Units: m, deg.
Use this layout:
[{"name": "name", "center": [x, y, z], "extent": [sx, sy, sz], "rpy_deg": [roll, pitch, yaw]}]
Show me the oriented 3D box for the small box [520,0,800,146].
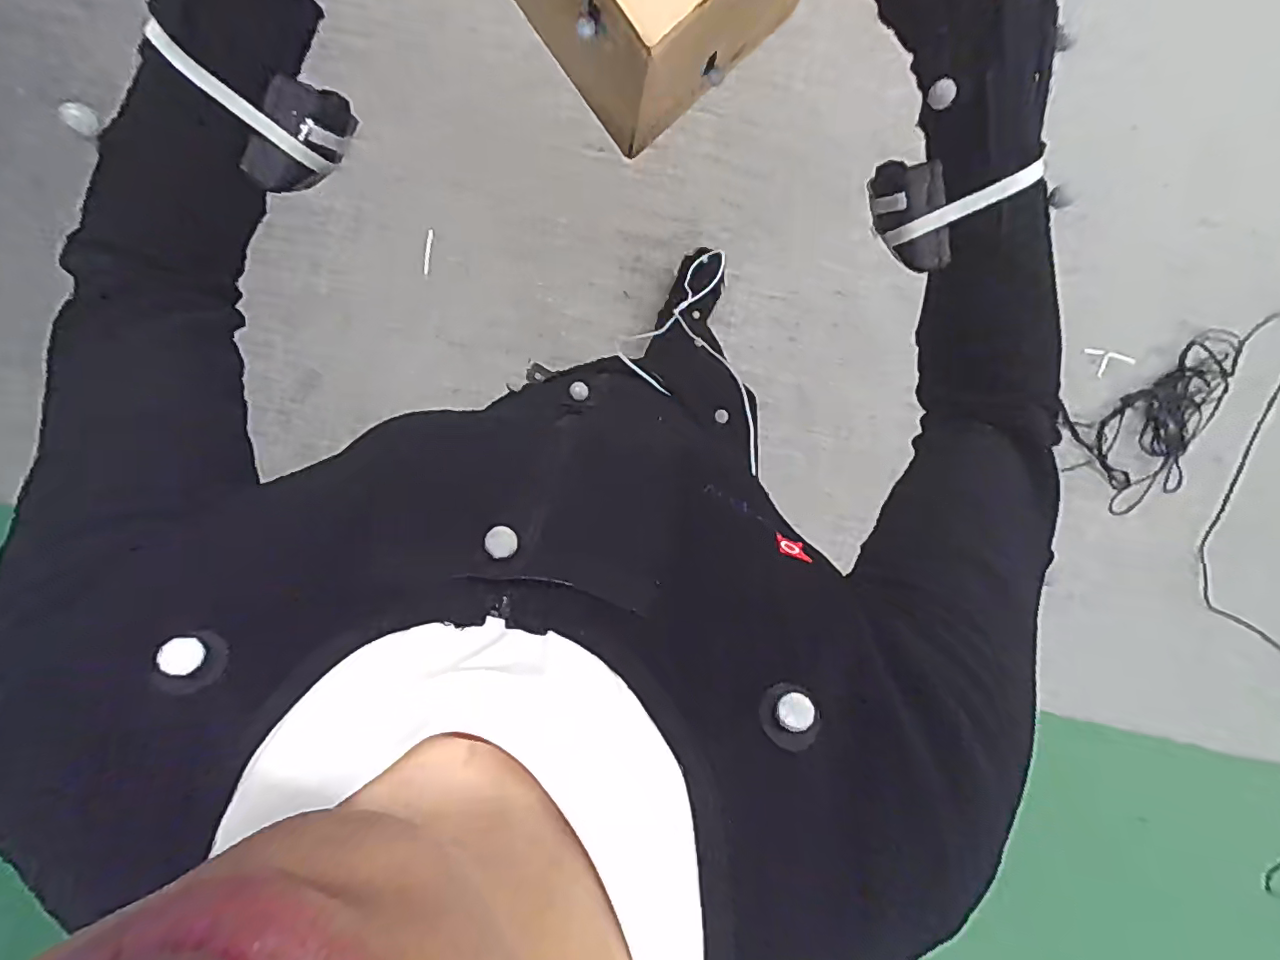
[{"name": "small box", "center": [0.009, -0.354, 0.331], "extent": [0.168, 0.176, 0.179], "rpy_deg": [-39, 105, 5]}]
